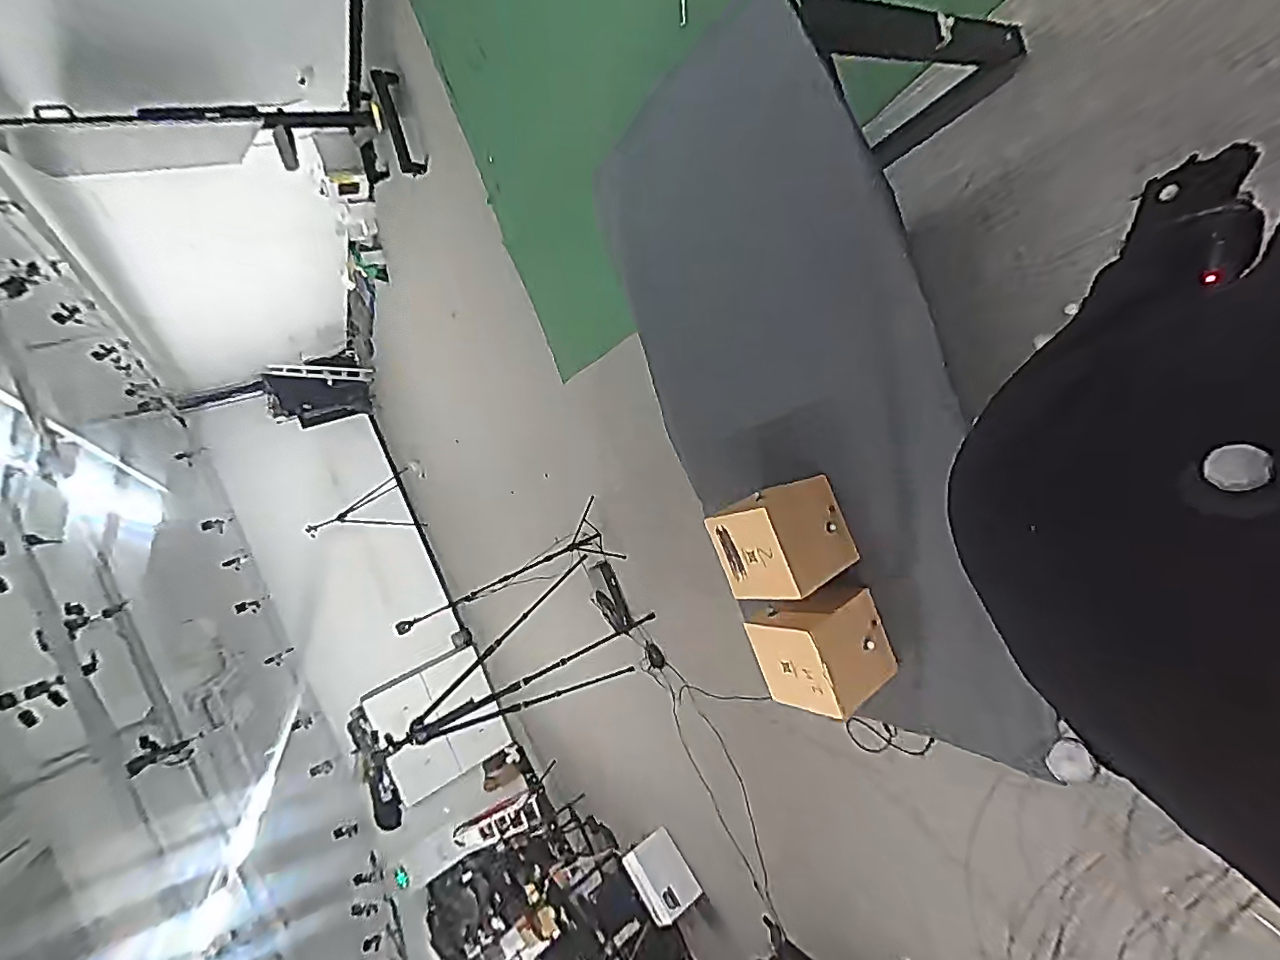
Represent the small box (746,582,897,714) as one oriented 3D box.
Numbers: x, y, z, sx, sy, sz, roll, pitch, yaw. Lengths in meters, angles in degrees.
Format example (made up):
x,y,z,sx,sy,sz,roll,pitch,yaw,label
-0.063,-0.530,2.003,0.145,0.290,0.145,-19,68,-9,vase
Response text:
x,y,z,sx,sy,sz,roll,pitch,yaw,label
0.336,0.301,1.008,0.179,0.176,0.168,-17,95,59,small box
